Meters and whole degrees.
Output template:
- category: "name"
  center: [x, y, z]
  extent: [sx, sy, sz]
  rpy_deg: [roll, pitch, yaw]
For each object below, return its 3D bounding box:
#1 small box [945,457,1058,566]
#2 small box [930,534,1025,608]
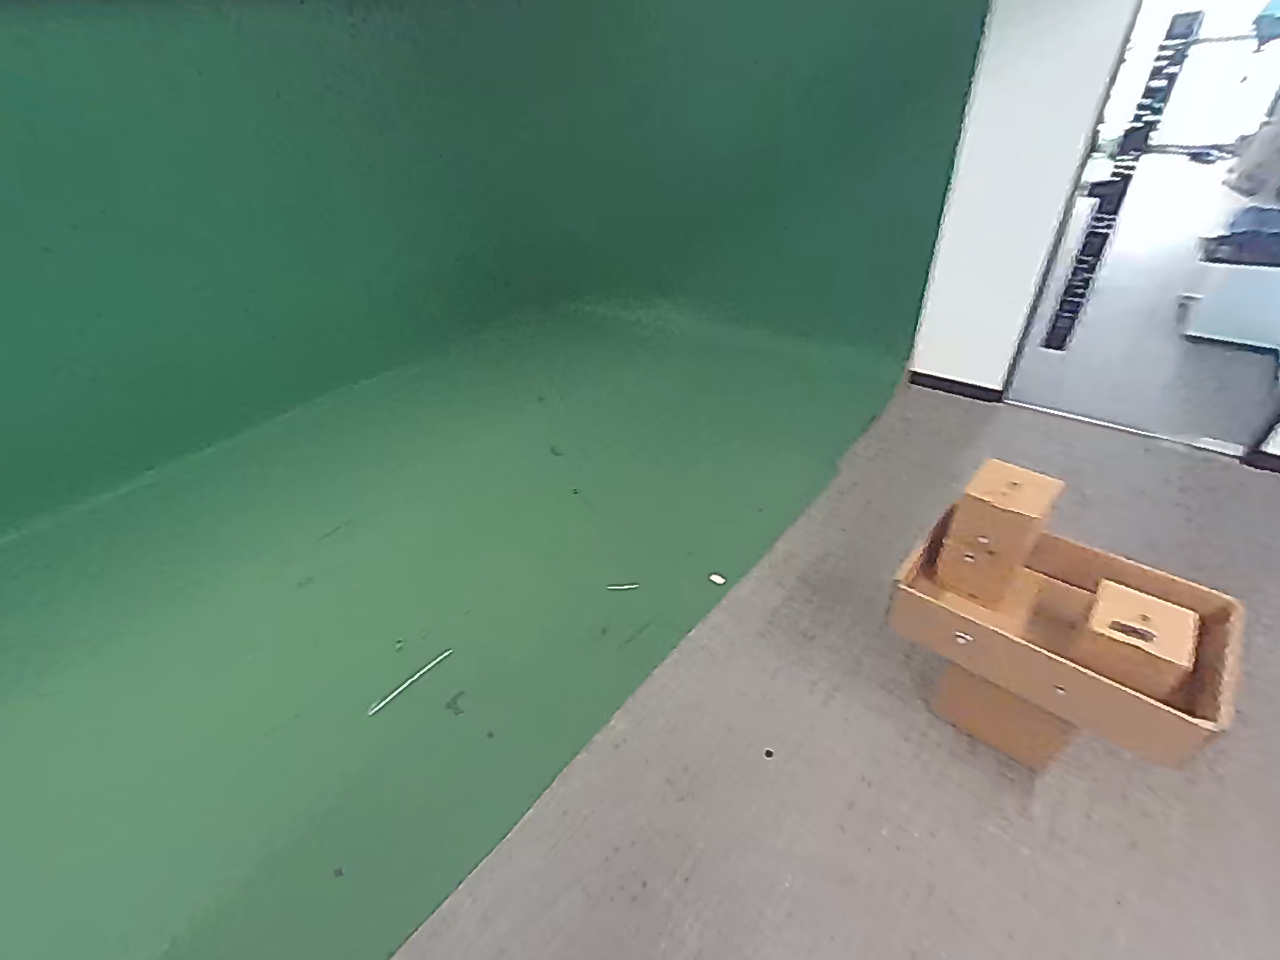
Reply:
- category: "small box"
  center: [0.893, 0.077, 1.348]
  extent: [0.179, 0.176, 0.168]
  rpy_deg: [-34, 45, -30]
- category: "small box"
  center: [0.908, 0.204, 1.450]
  extent: [0.168, 0.176, 0.179]
  rpy_deg: [28, 50, 36]
